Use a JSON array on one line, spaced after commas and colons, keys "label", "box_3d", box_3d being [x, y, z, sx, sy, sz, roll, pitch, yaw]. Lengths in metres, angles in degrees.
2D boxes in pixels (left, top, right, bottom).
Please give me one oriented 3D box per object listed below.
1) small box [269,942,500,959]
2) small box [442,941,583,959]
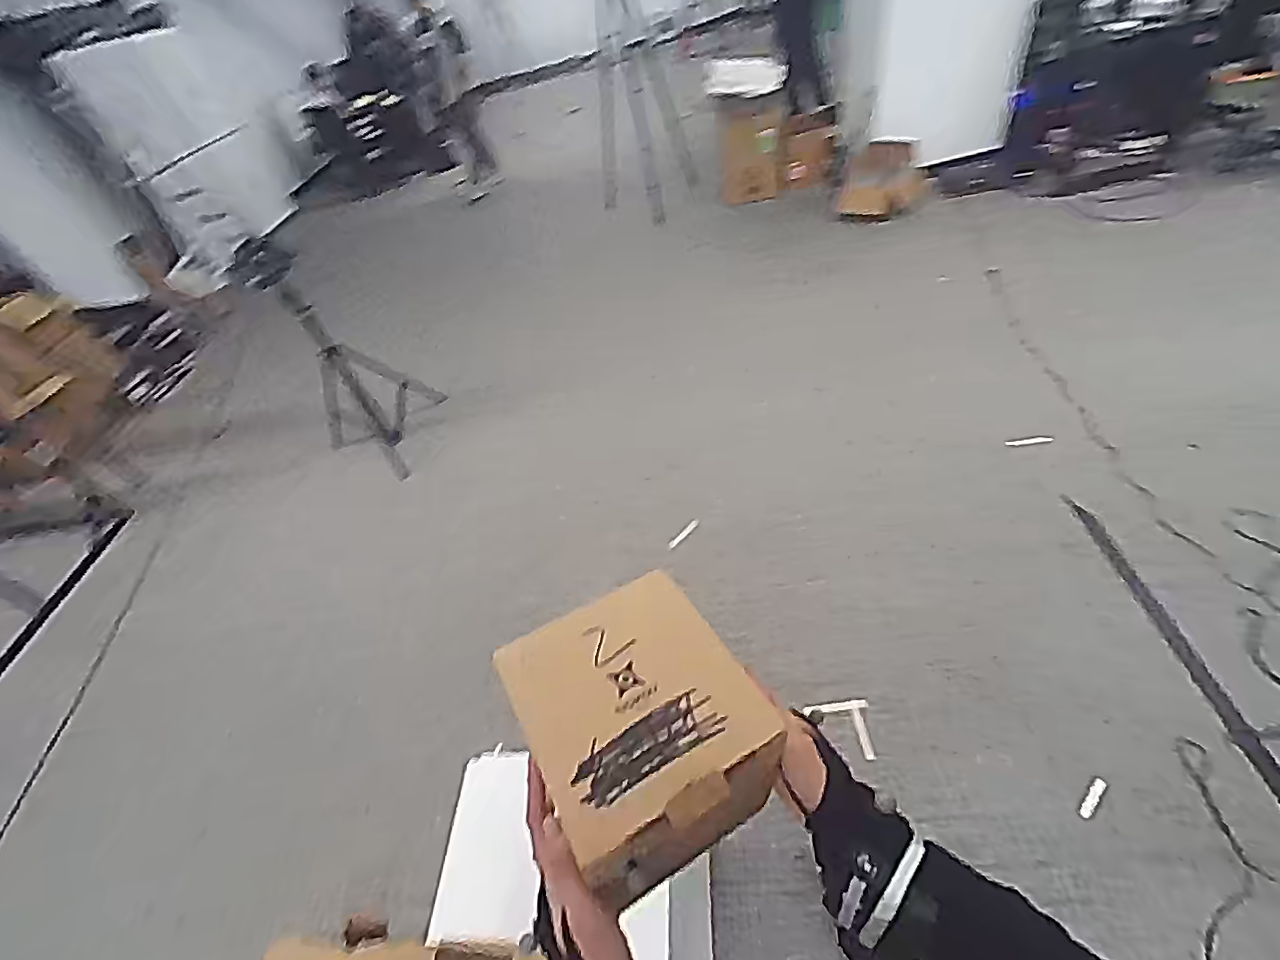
[{"label": "small box", "box_3d": [-0.230, 0.518, 0.463, 0.168, 0.176, 0.179, -7, 45, 10]}, {"label": "small box", "box_3d": [-0.173, 0.729, 0.708, 0.168, 0.176, 0.179, -6, 45, 11]}]
